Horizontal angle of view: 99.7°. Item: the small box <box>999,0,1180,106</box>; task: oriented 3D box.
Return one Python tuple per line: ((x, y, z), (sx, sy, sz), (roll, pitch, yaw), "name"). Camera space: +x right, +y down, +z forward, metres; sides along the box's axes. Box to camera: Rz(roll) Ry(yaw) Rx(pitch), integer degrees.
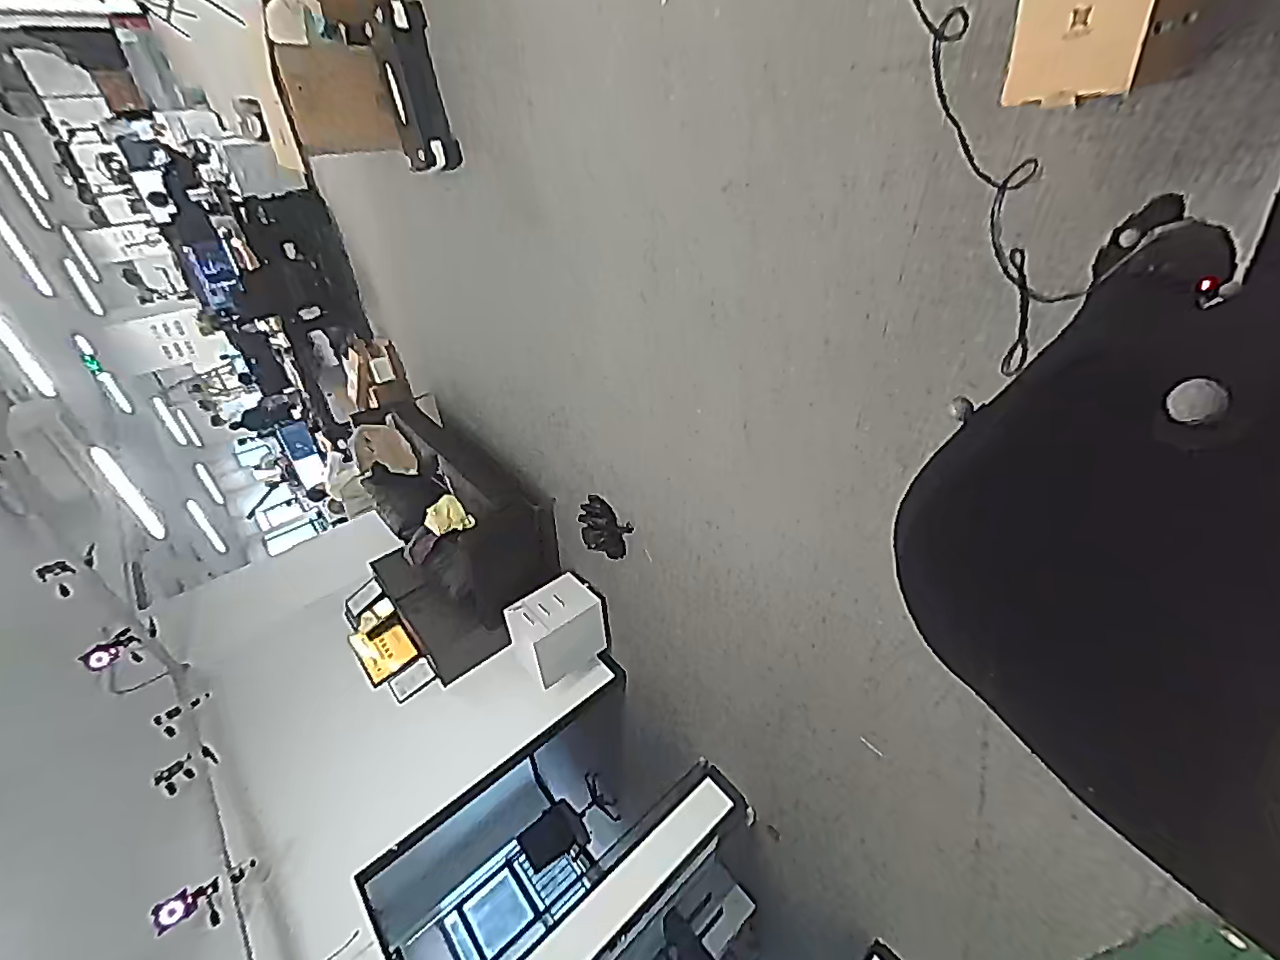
((0.673, -0.681, 0.804), (0.168, 0.176, 0.179), (25, 134, 45), "small box")
